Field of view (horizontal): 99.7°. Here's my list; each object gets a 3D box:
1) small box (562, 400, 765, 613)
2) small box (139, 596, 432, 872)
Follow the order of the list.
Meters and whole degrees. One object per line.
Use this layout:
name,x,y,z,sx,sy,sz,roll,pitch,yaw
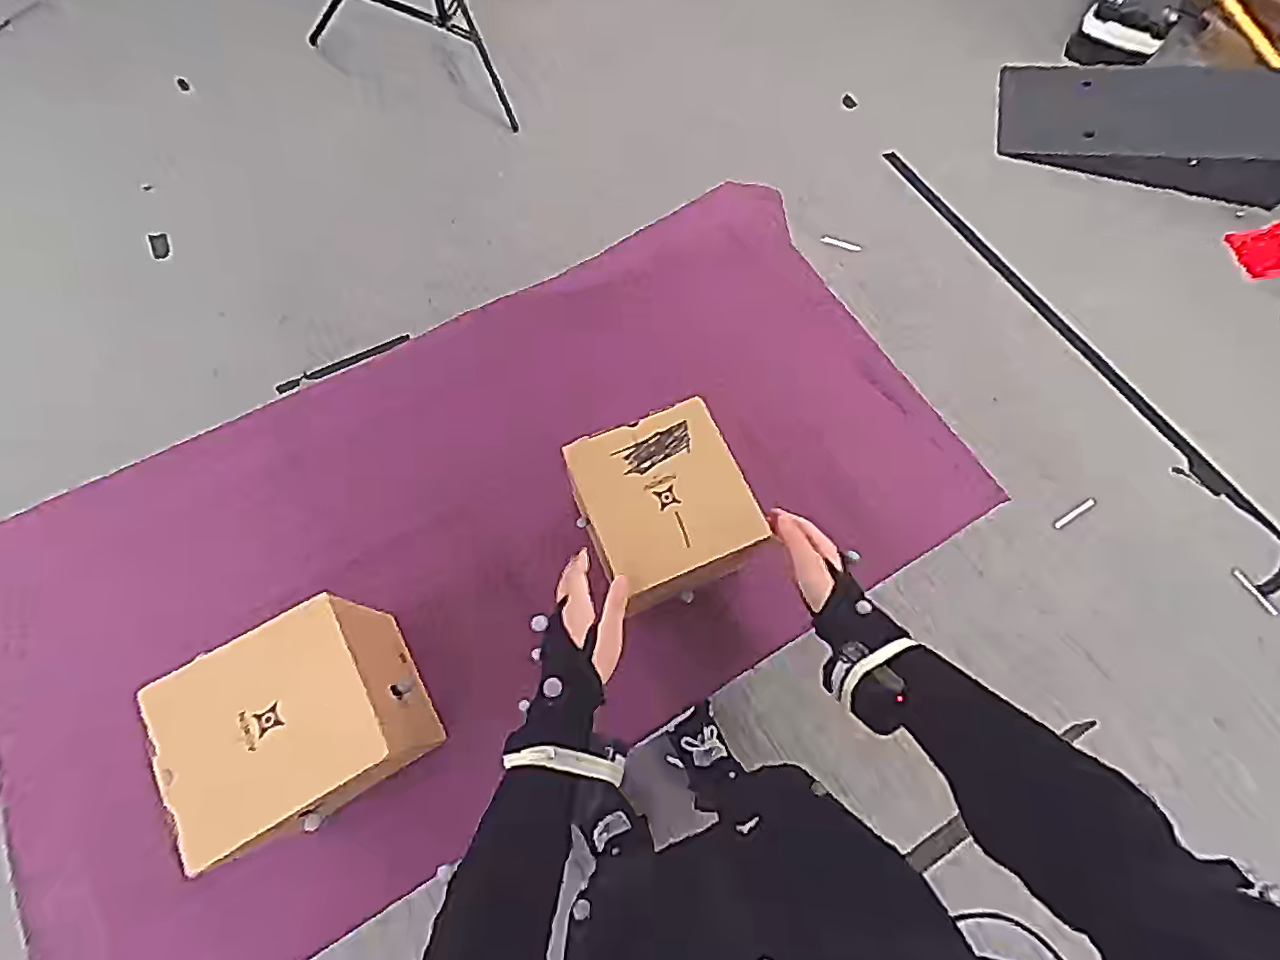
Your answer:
small box,0.018,0.039,0.637,0.168,0.176,0.179,-21,72,-9
small box,-0.335,0.241,0.553,0.179,0.176,0.168,-30,73,-11
